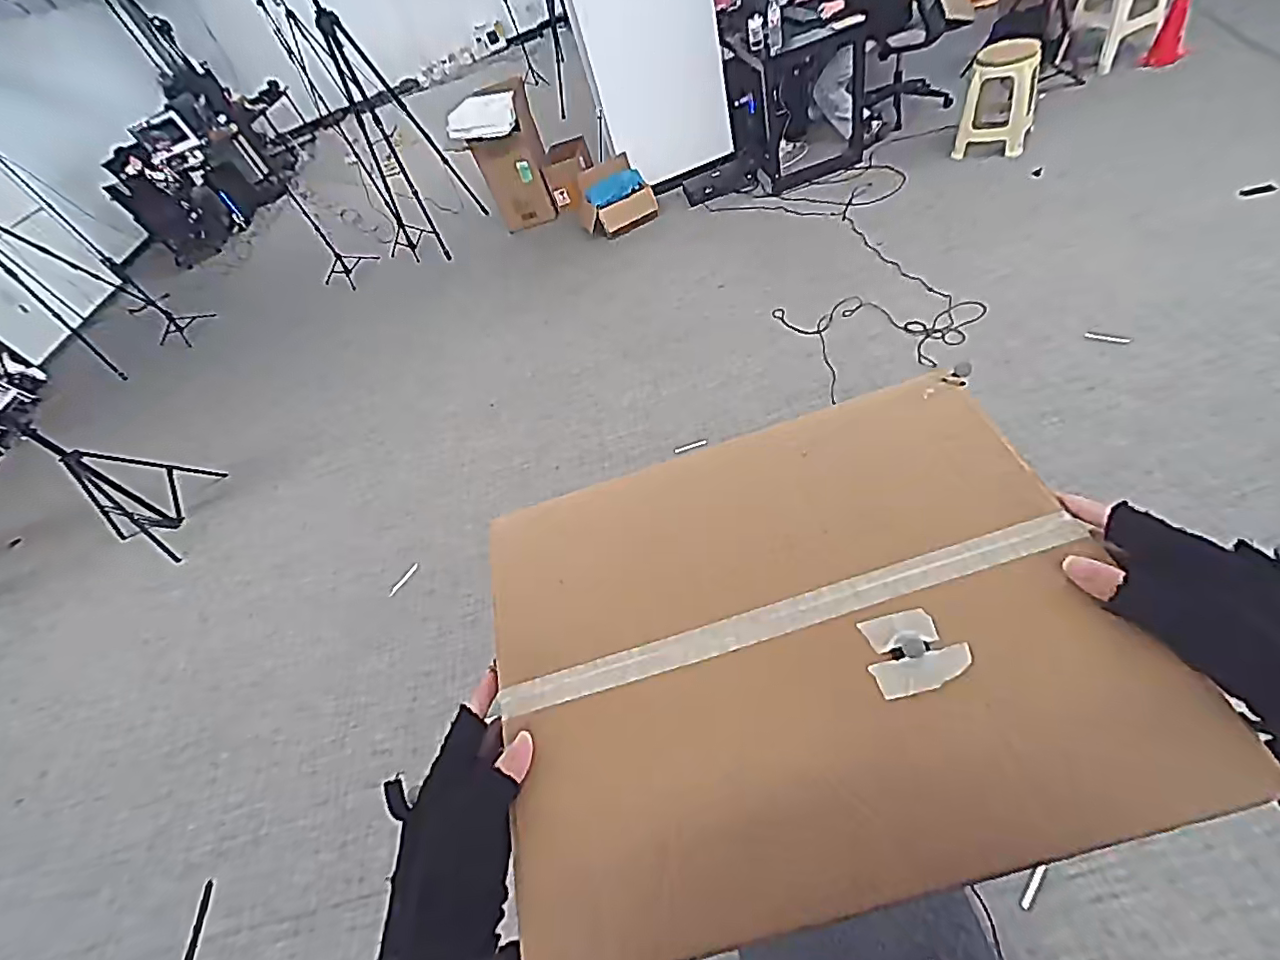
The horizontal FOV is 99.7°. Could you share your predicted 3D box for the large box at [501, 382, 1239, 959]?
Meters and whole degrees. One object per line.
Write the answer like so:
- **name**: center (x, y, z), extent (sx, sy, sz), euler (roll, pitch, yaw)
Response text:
- **large box**: center (0.130, 0.178, 0.501), extent (0.408, 0.320, 0.320), euler (-18, 55, 3)
